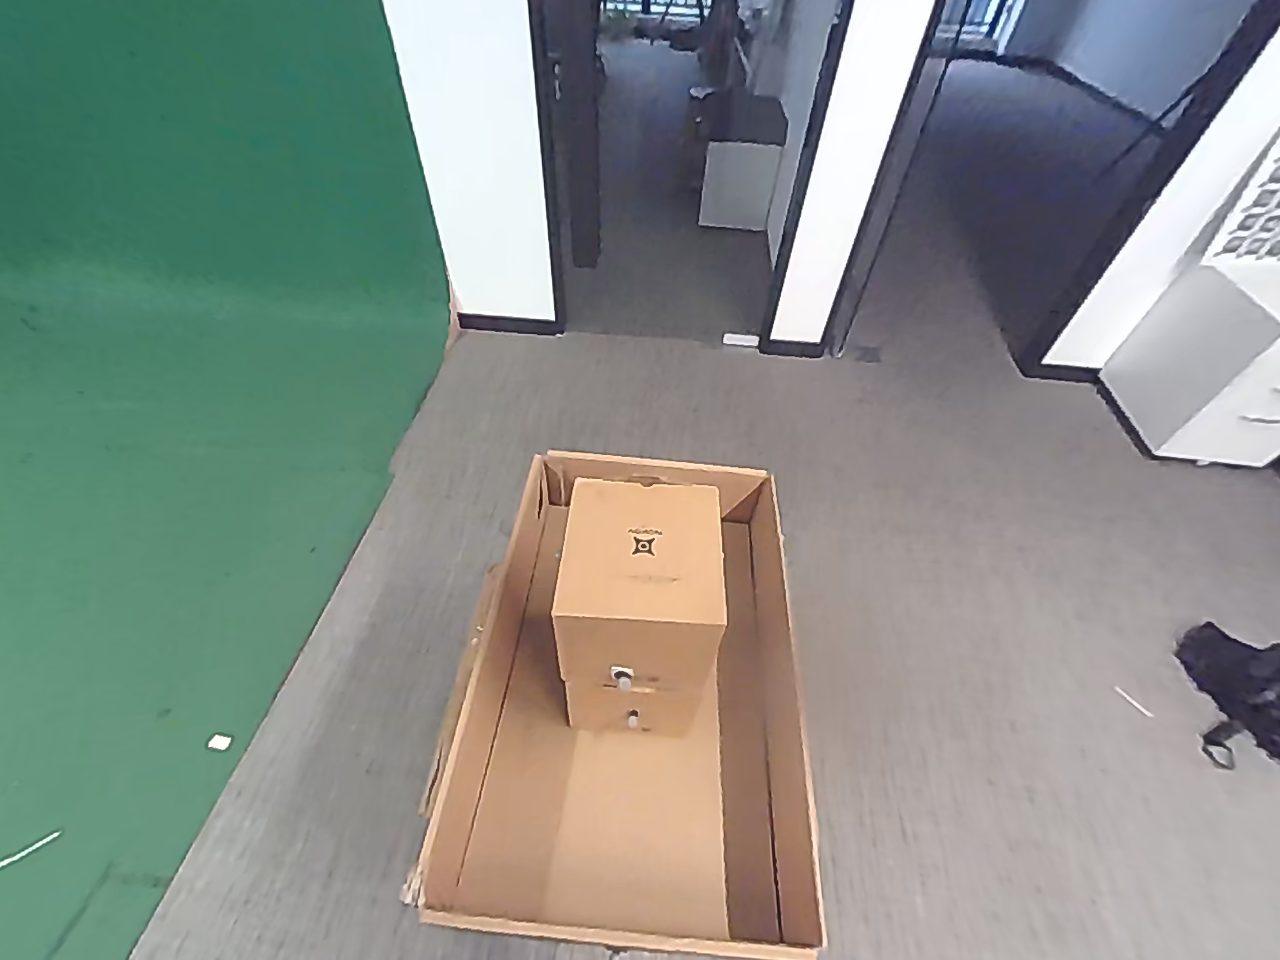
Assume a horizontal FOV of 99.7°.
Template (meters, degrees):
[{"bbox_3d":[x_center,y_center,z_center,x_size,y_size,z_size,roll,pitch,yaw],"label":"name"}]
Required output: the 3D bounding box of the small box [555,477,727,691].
[{"bbox_3d":[0.000,0.119,0.617,0.168,0.176,0.179,3,49,0],"label":"small box"}]
